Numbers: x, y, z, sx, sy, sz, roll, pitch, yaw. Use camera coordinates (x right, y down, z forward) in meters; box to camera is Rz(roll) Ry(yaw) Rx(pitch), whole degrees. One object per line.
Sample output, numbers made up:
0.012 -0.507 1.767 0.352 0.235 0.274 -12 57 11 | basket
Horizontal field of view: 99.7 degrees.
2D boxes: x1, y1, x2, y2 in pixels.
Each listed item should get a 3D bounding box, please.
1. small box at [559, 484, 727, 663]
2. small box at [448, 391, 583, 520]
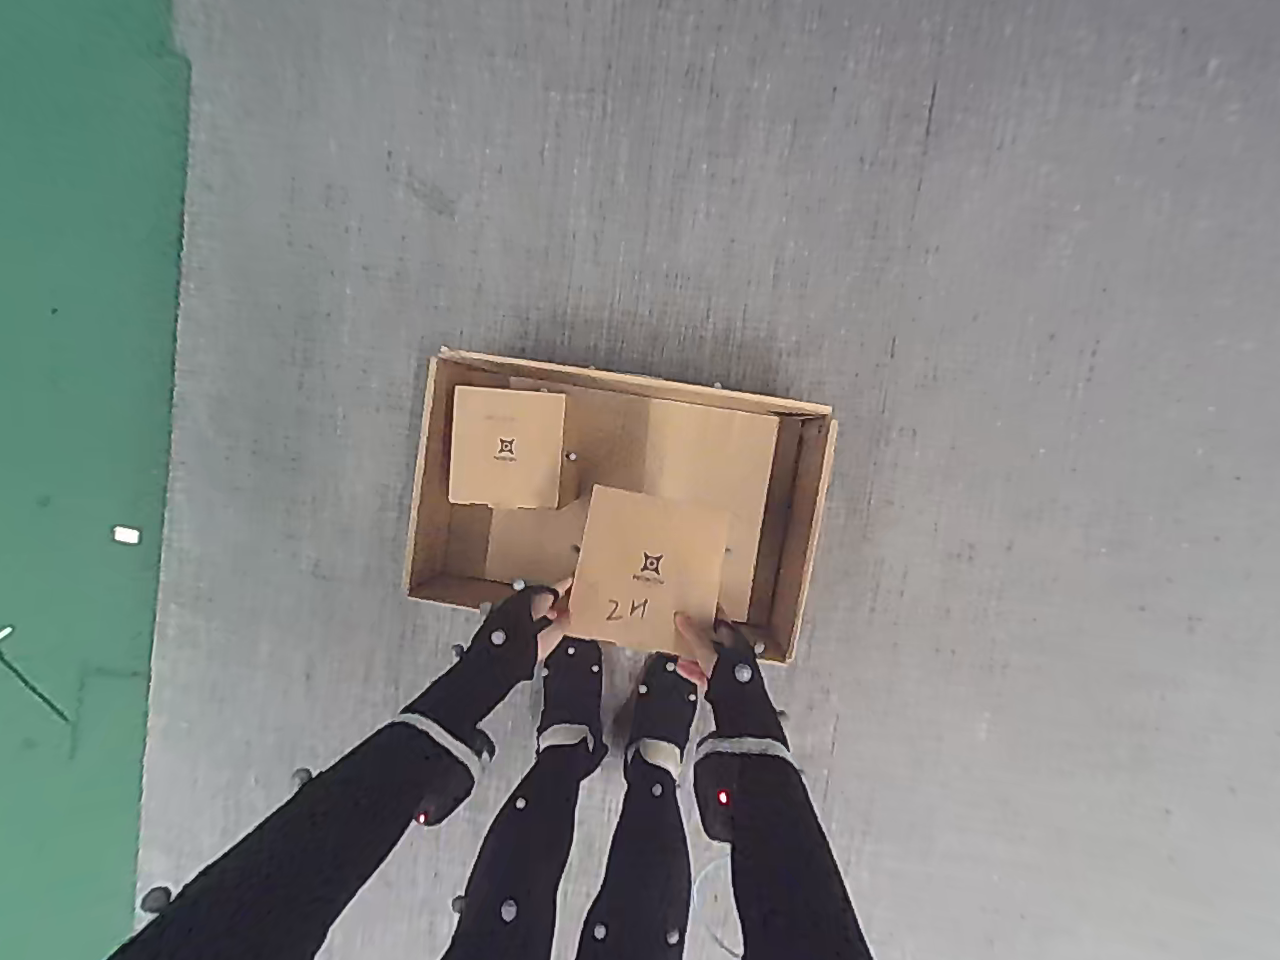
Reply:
0.002 0.121 0.692 0.168 0.176 0.179 12 77 1 | small box
-0.189 -0.044 0.863 0.168 0.176 0.179 6 96 3 | small box
